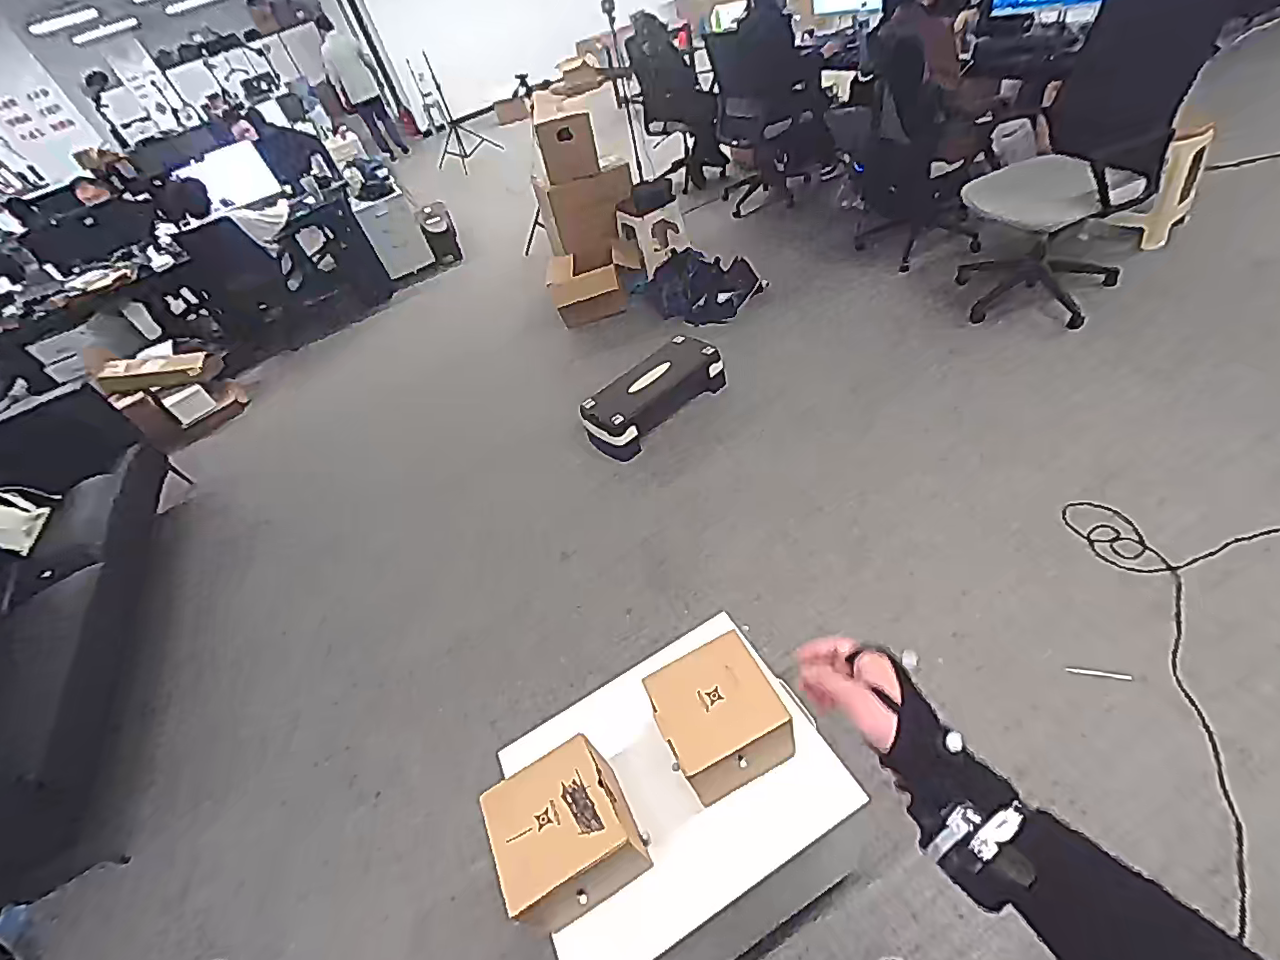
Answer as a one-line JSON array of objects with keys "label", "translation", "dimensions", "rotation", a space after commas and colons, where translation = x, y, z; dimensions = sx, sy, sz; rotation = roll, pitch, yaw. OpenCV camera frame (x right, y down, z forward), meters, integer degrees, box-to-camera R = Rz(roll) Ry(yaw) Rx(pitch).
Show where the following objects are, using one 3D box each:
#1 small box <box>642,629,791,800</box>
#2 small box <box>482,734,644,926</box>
[{"label": "small box", "translation": [0.128, 0.383, 0.876], "dimensions": [0.179, 0.176, 0.168], "rotation": [-26, 46, -7]}, {"label": "small box", "translation": [-0.107, 0.525, 0.813], "dimensions": [0.179, 0.176, 0.168], "rotation": [-29, 44, -9]}]
